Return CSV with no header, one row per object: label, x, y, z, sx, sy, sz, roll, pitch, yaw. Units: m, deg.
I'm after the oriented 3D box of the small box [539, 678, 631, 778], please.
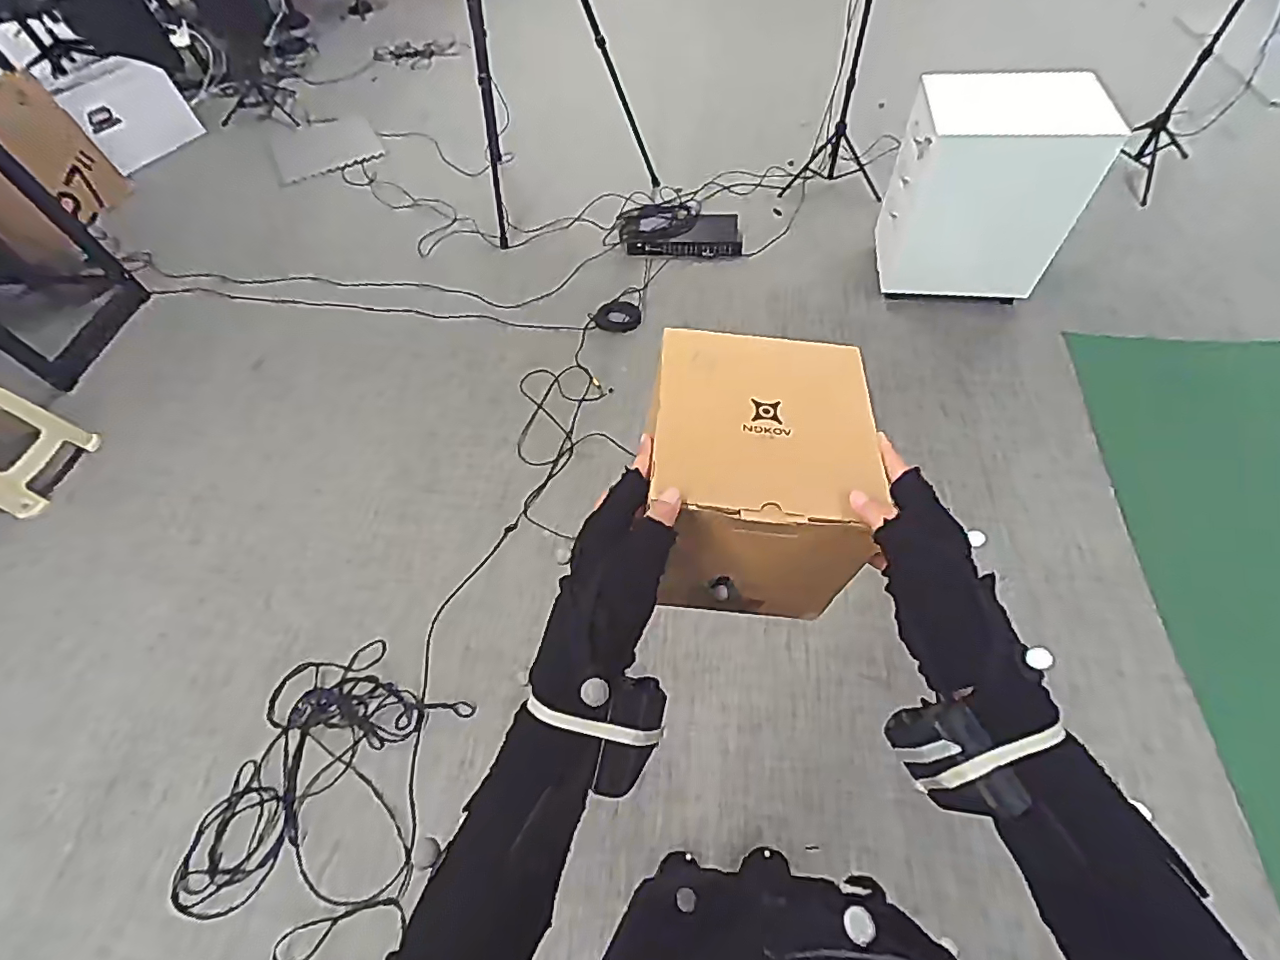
small box,-0.119,0.585,1.267,0.168,0.176,0.179,6,57,9
